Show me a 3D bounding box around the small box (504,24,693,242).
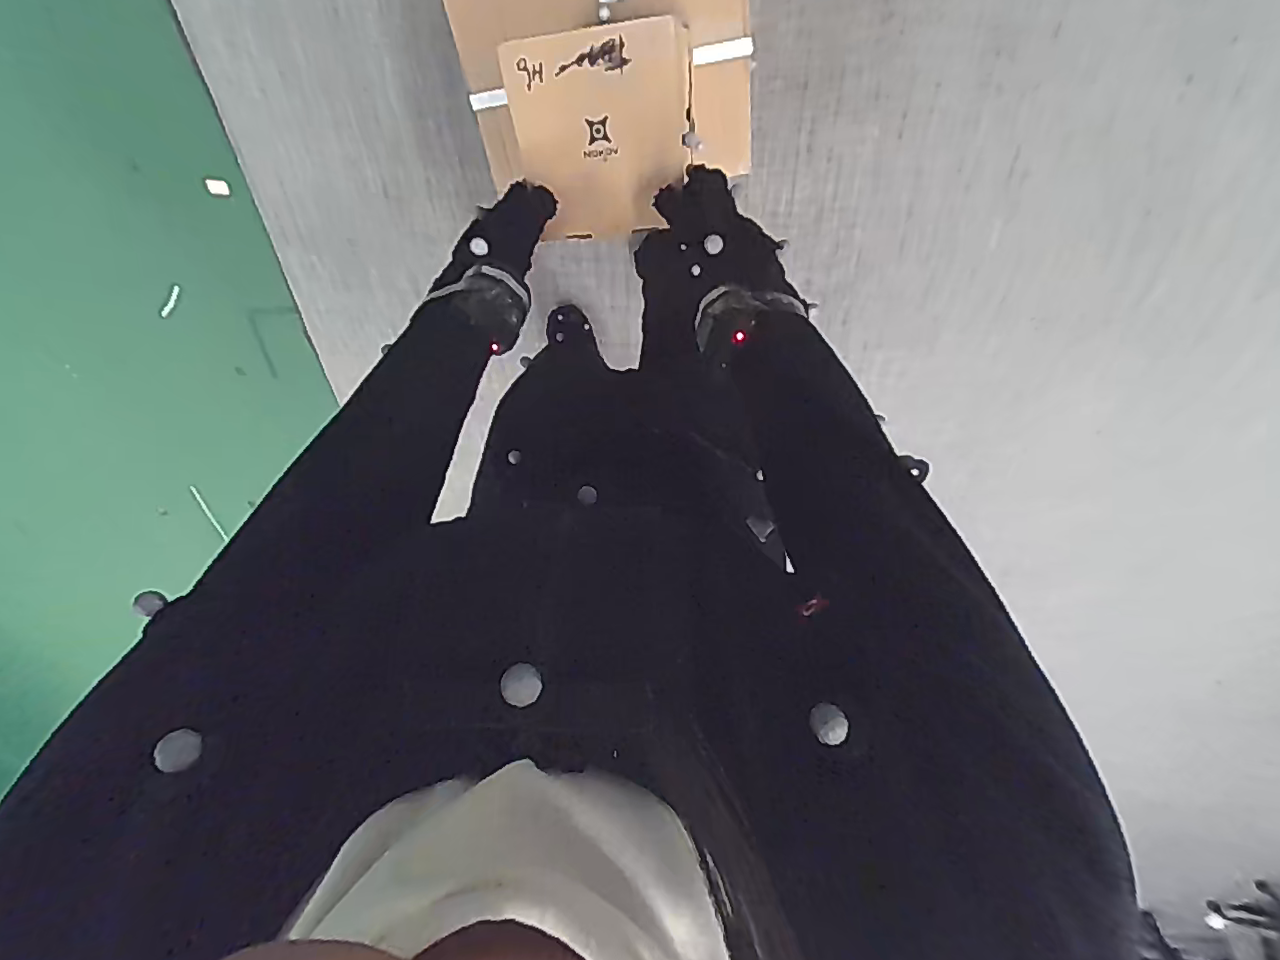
[{"bbox_3d":[-0.029,-0.387,0.605,0.168,0.176,0.179,-2,129,9],"label":"small box"}]
